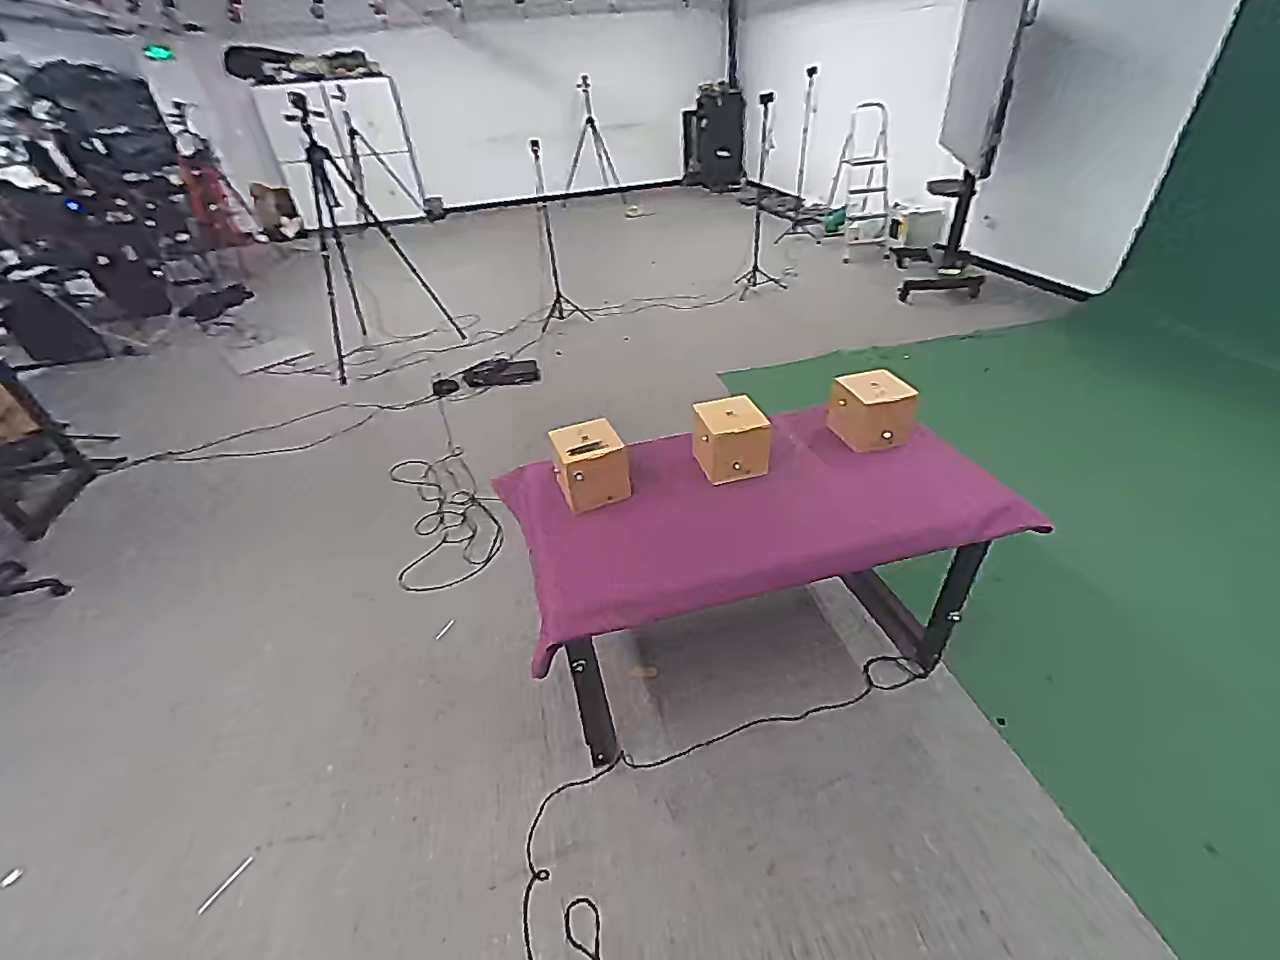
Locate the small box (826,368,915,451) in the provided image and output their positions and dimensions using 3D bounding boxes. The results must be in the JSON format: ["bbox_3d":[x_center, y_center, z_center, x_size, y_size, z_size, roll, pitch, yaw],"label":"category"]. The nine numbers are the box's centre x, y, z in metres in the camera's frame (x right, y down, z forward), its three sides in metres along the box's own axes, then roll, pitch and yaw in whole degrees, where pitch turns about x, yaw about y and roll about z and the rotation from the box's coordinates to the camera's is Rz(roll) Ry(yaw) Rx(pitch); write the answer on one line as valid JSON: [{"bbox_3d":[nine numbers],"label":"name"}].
[{"bbox_3d":[0.672,-0.210,1.601,0.168,0.176,0.179,-12,38,-8],"label":"small box"}]

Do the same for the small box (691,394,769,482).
[{"bbox_3d":[0.246,-0.120,1.533,0.168,0.176,0.179,-12,39,-10],"label":"small box"}]
